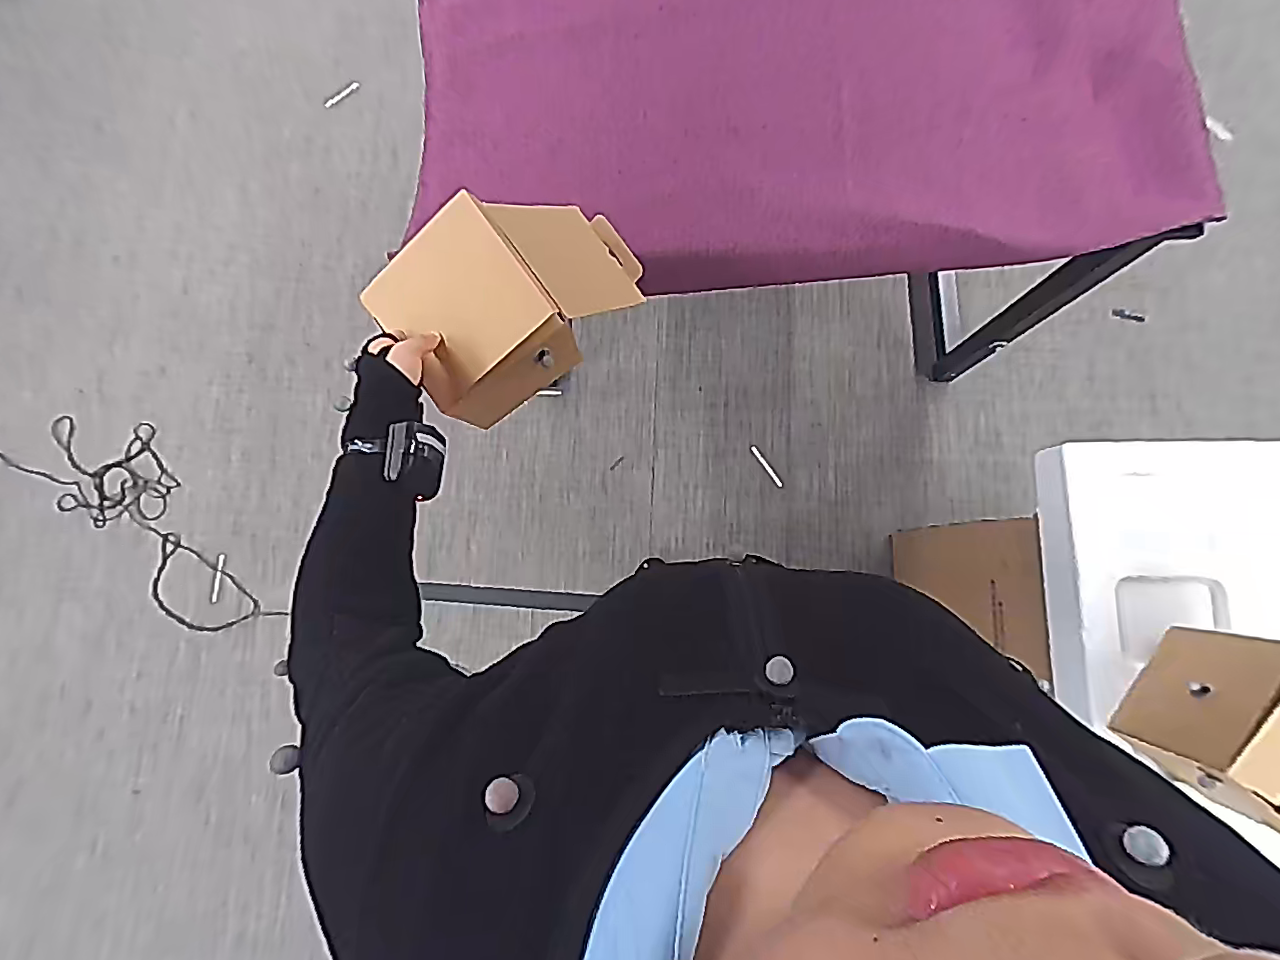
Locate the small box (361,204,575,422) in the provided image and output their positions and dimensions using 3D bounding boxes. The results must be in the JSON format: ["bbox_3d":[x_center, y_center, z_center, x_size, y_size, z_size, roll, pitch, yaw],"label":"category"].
[{"bbox_3d":[-0.196,-0.193,0.680,0.179,0.176,0.168,-36,88,0],"label":"small box"}]
